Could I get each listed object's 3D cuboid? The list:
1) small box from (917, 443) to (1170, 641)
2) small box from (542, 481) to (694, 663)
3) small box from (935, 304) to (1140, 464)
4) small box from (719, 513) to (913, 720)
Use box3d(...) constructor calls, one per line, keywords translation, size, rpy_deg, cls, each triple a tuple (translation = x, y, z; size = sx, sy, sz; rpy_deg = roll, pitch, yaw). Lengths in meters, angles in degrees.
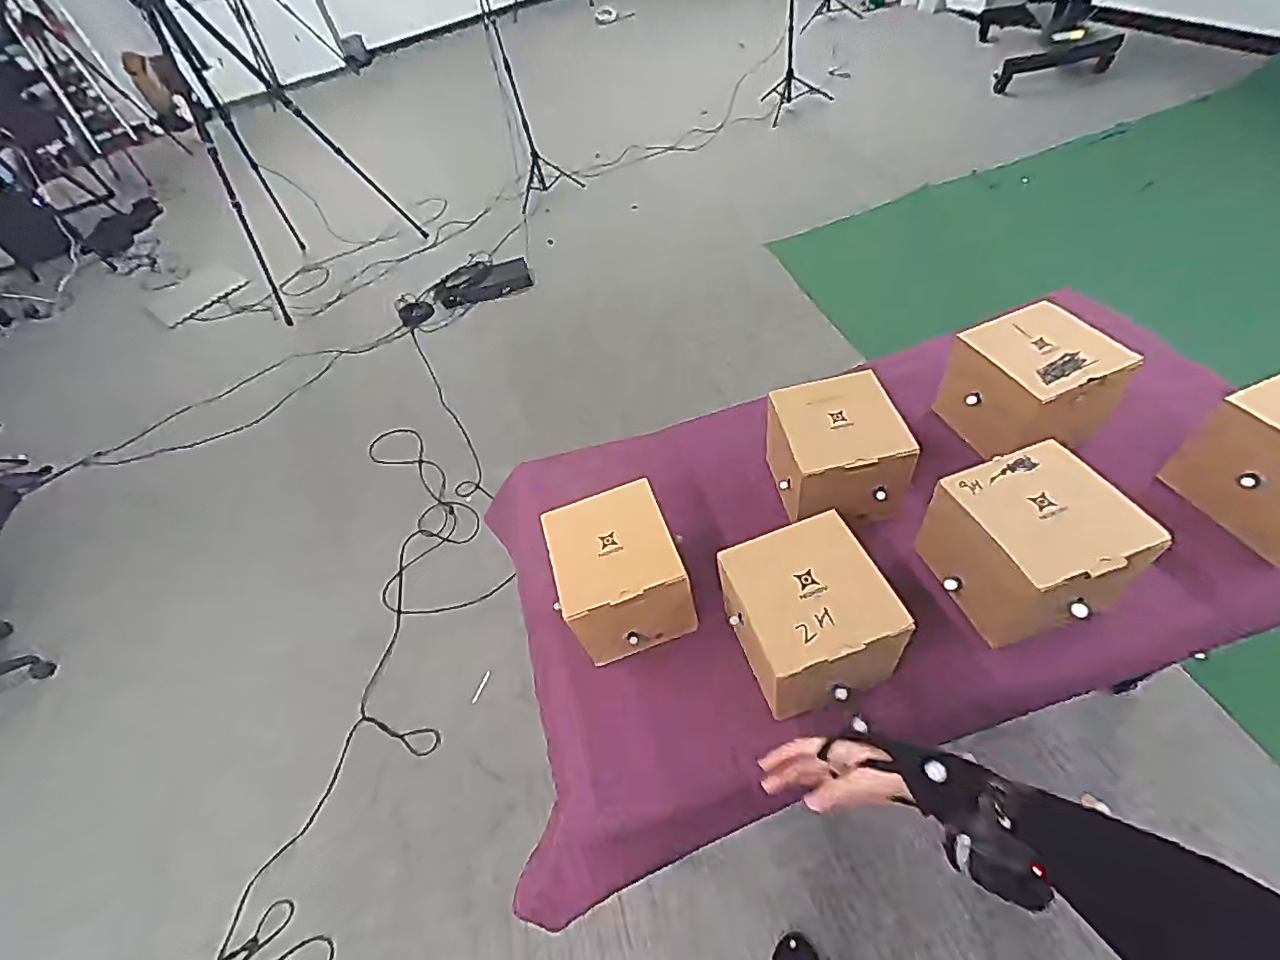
box3d(translation=(0.496, 0.088, 0.702), size=(0.168, 0.176, 0.179), rpy_deg=(-19, 49, -3), cls="small box")
box3d(translation=(-0.030, 0.136, 0.789), size=(0.168, 0.176, 0.179), rpy_deg=(-19, 51, -3), cls="small box")
box3d(translation=(0.611, -0.141, 0.861), size=(0.168, 0.176, 0.179), rpy_deg=(-21, 49, -4), cls="small box")
box3d(translation=(0.211, 0.177, 0.697), size=(0.168, 0.176, 0.179), rpy_deg=(-20, 50, -2), cls="small box")
